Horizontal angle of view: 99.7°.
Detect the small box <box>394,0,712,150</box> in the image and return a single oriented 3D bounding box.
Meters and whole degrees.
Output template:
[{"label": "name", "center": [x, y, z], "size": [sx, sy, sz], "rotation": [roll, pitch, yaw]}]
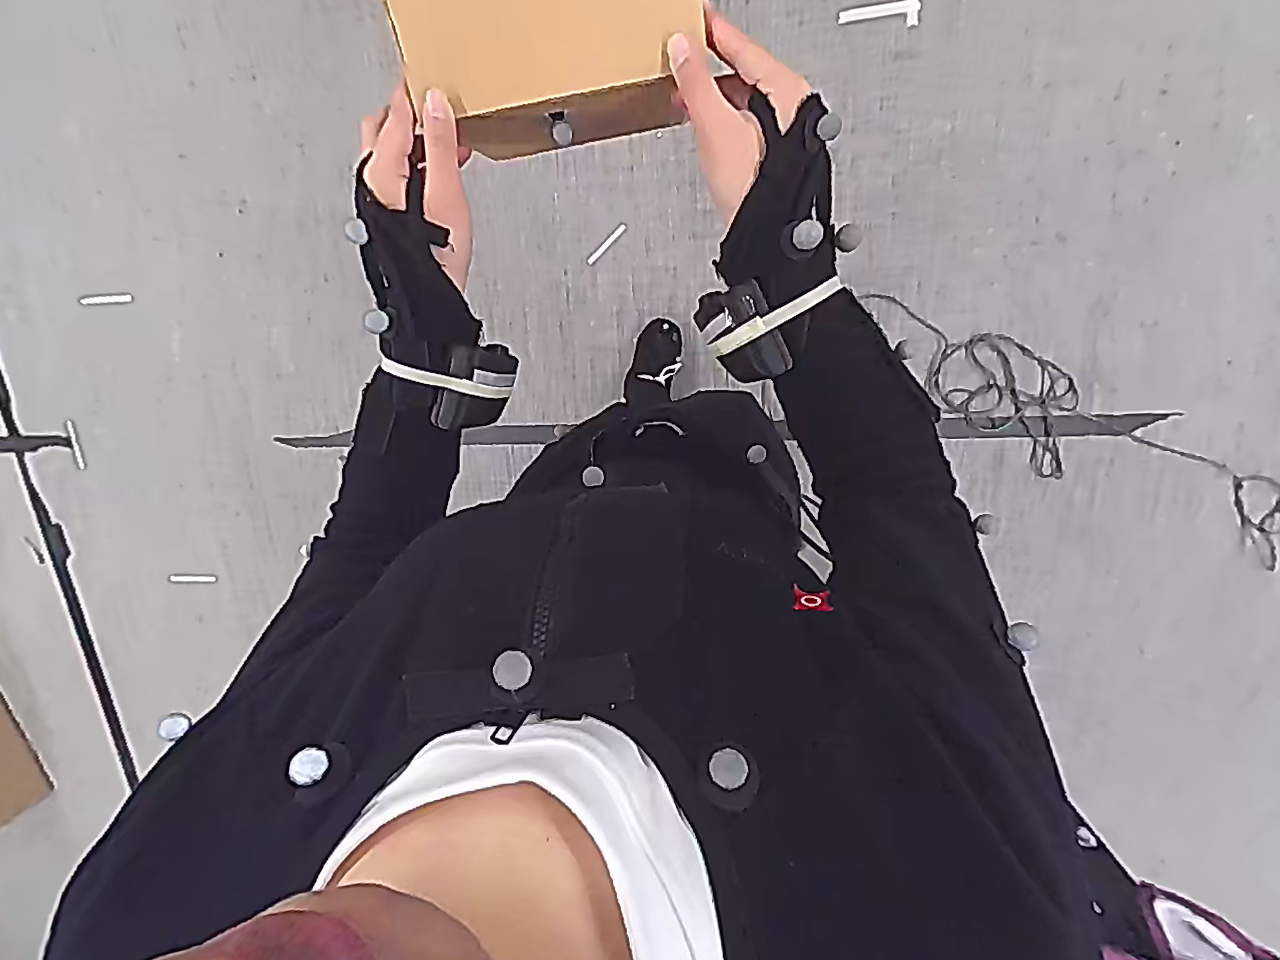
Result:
[{"label": "small box", "center": [-0.054, -0.334, 0.357], "size": [0.179, 0.176, 0.168], "rotation": [-8, 114, 5]}]
